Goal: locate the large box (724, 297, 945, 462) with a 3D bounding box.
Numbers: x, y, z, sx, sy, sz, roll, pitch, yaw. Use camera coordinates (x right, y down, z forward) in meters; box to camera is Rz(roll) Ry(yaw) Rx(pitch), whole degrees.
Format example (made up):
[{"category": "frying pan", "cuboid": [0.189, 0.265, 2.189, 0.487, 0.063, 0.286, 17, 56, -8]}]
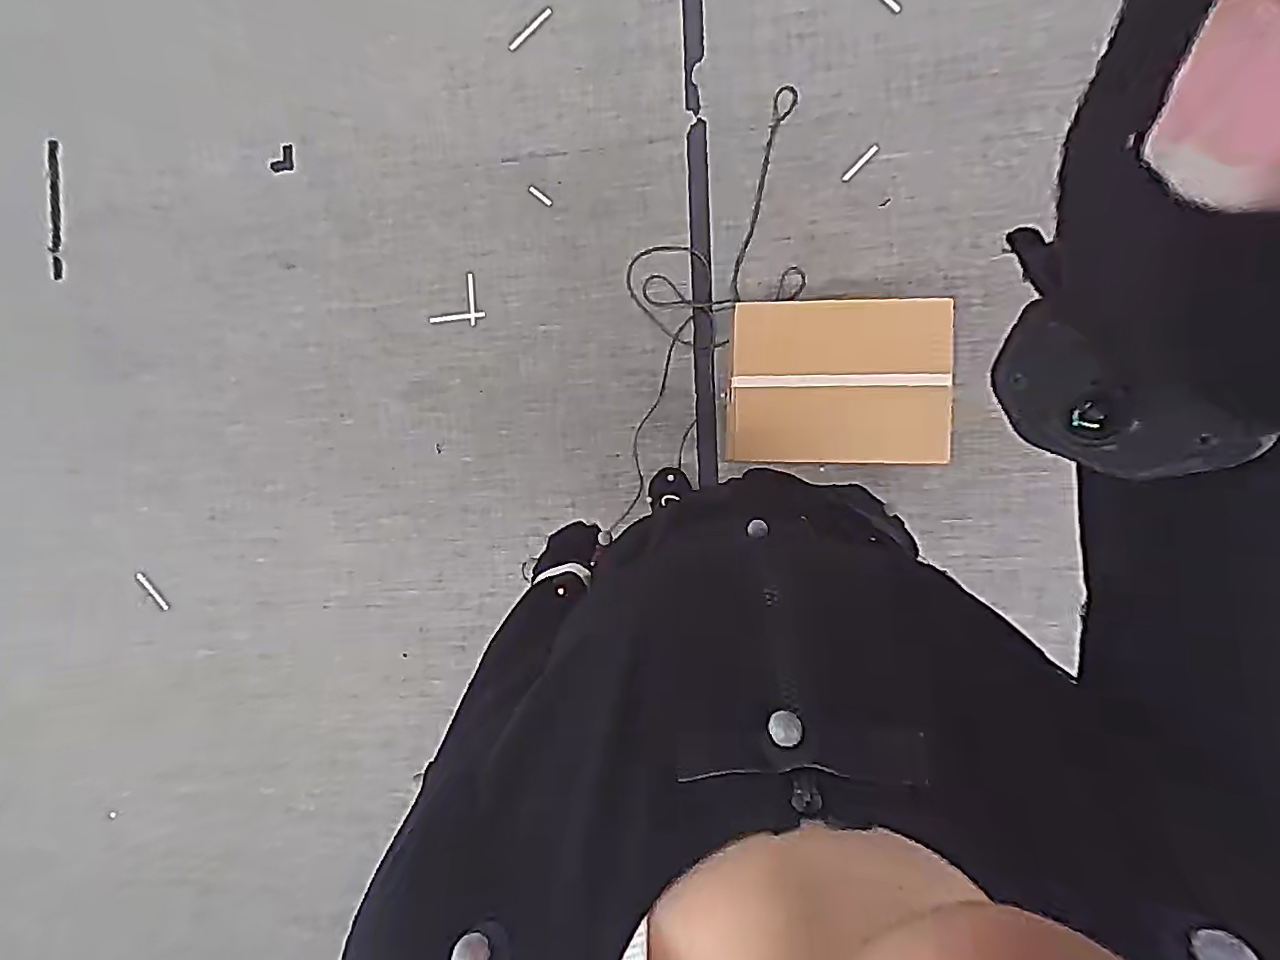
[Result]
[{"category": "large box", "cuboid": [0.394, -0.197, 1.193, 0.408, 0.320, 0.320, 1, 92, 7]}]
